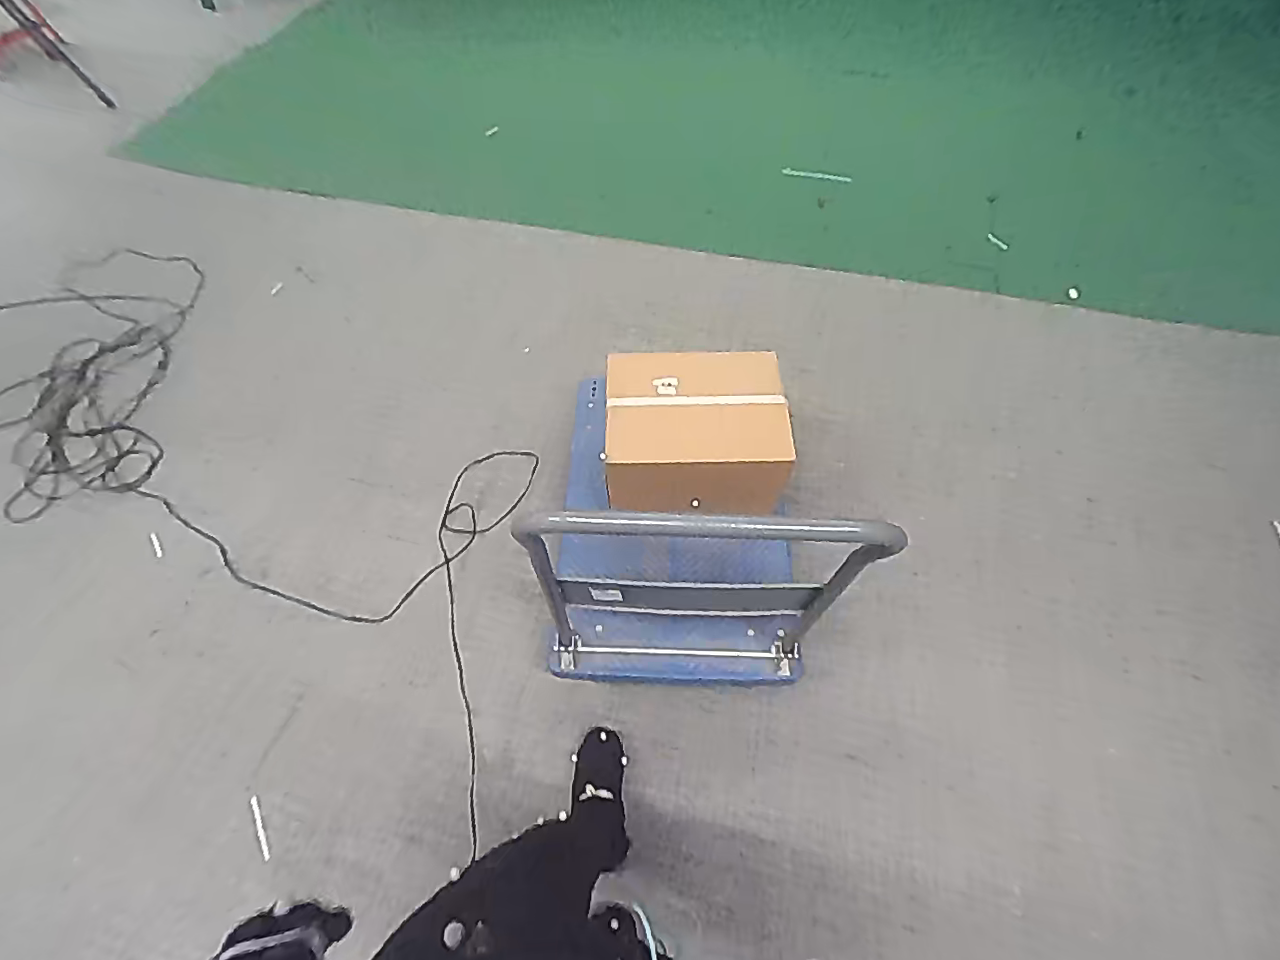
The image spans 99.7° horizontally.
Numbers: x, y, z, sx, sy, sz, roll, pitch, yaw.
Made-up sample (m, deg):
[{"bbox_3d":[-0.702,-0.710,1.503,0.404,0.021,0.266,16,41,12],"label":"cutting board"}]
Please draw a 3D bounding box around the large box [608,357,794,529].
[{"bbox_3d":[0.131,-0.083,1.352,0.408,0.320,0.320,-1,58,0],"label":"large box"}]
